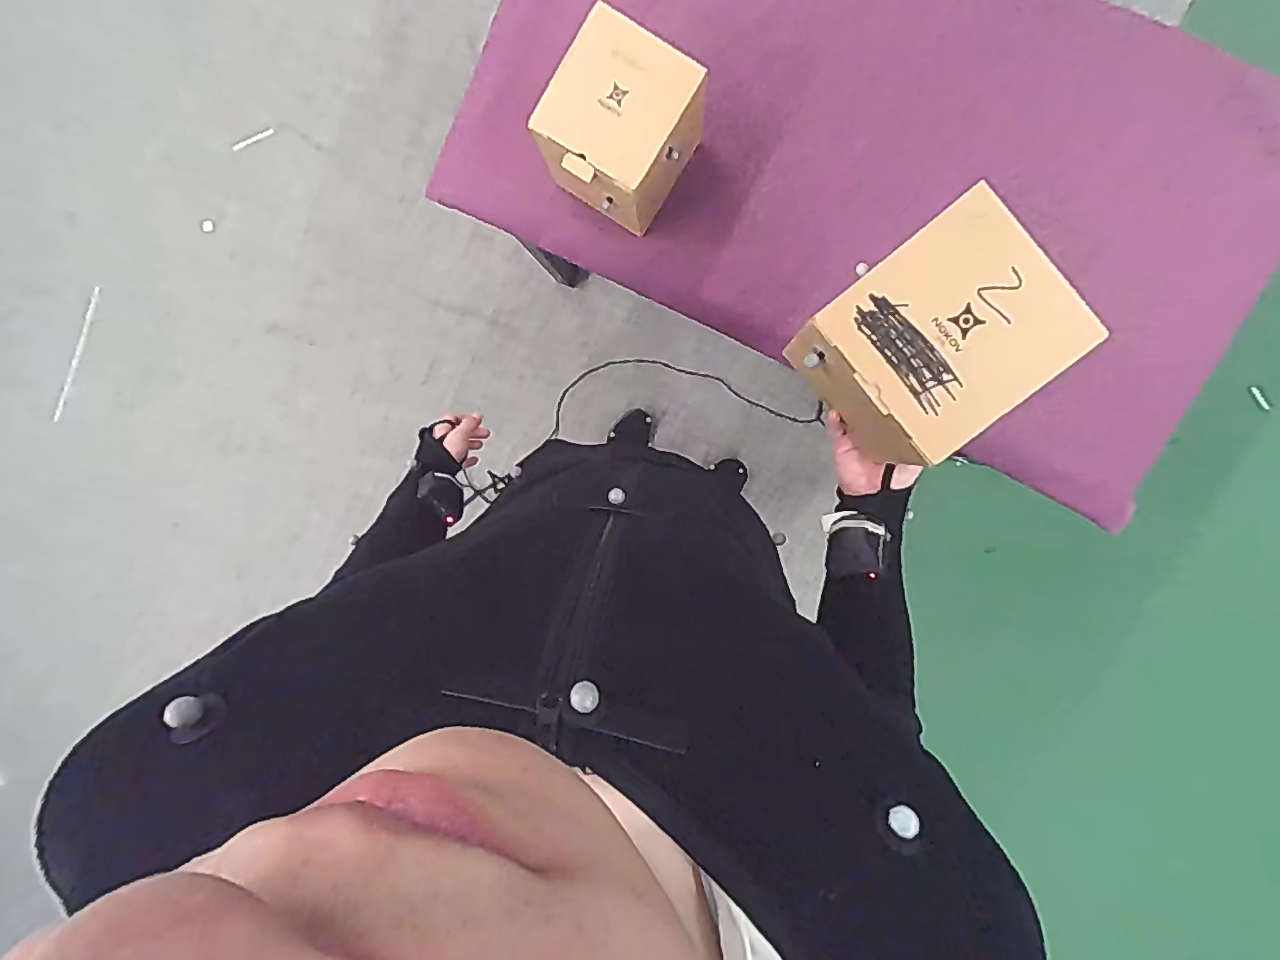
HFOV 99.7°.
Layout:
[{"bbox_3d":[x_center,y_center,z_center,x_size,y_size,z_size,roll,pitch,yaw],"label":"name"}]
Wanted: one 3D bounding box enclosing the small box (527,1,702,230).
[{"bbox_3d":[-0.028,-0.491,0.762,0.168,0.176,0.179,33,96,0],"label":"small box"}]
